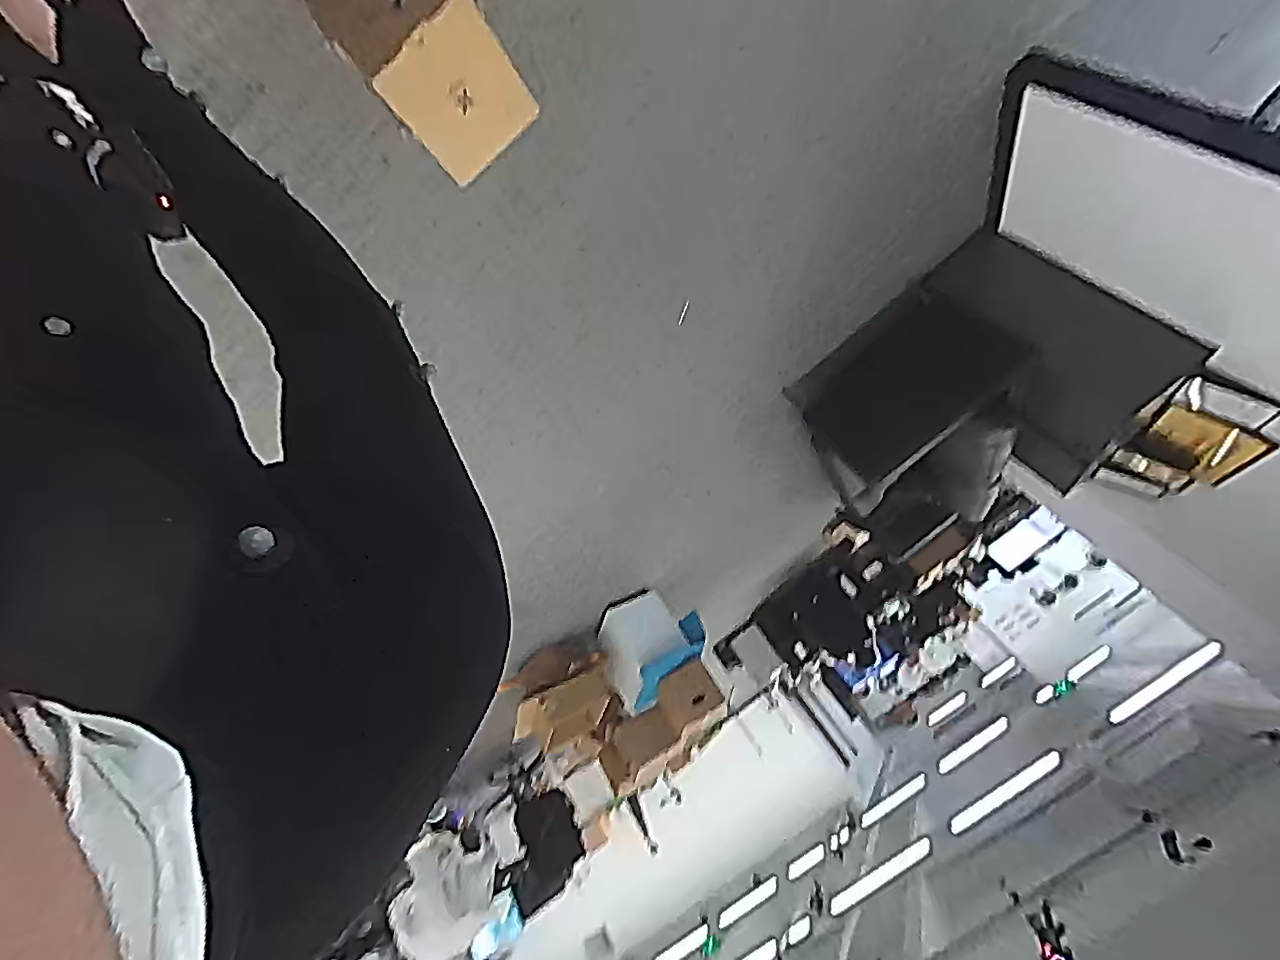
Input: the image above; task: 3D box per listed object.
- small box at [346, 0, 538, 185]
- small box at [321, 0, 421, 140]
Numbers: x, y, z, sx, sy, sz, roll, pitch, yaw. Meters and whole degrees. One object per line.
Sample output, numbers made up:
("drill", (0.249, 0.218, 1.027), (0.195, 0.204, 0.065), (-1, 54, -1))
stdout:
("small box", (-0.287, -0.587, 0.790), (0.168, 0.176, 0.179), (-41, 149, 7))
("small box", (-0.377, -0.701, 0.865), (0.179, 0.176, 0.168), (-41, 149, 6))
